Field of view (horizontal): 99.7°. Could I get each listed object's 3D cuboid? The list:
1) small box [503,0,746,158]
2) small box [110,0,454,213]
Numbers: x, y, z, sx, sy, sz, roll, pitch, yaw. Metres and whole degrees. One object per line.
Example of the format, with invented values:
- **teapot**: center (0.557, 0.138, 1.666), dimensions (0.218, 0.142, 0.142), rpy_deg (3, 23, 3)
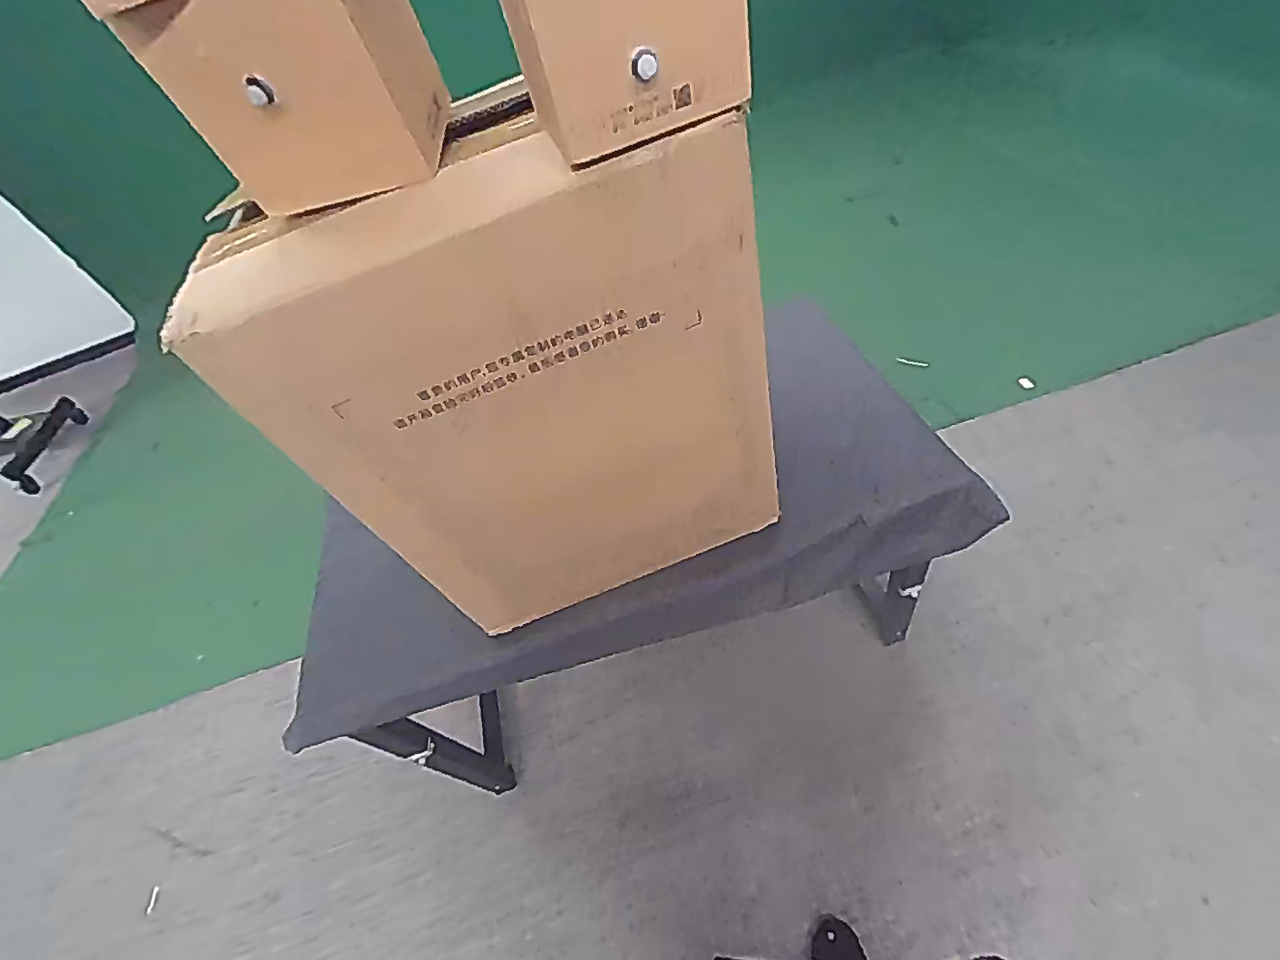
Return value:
- **small box**: center (-0.024, -0.398, 0.446), dimensions (0.168, 0.176, 0.179), rpy_deg (-21, 50, -1)
- **small box**: center (-0.299, -0.378, 0.497), dimensions (0.179, 0.176, 0.168), rpy_deg (-10, 59, 8)
